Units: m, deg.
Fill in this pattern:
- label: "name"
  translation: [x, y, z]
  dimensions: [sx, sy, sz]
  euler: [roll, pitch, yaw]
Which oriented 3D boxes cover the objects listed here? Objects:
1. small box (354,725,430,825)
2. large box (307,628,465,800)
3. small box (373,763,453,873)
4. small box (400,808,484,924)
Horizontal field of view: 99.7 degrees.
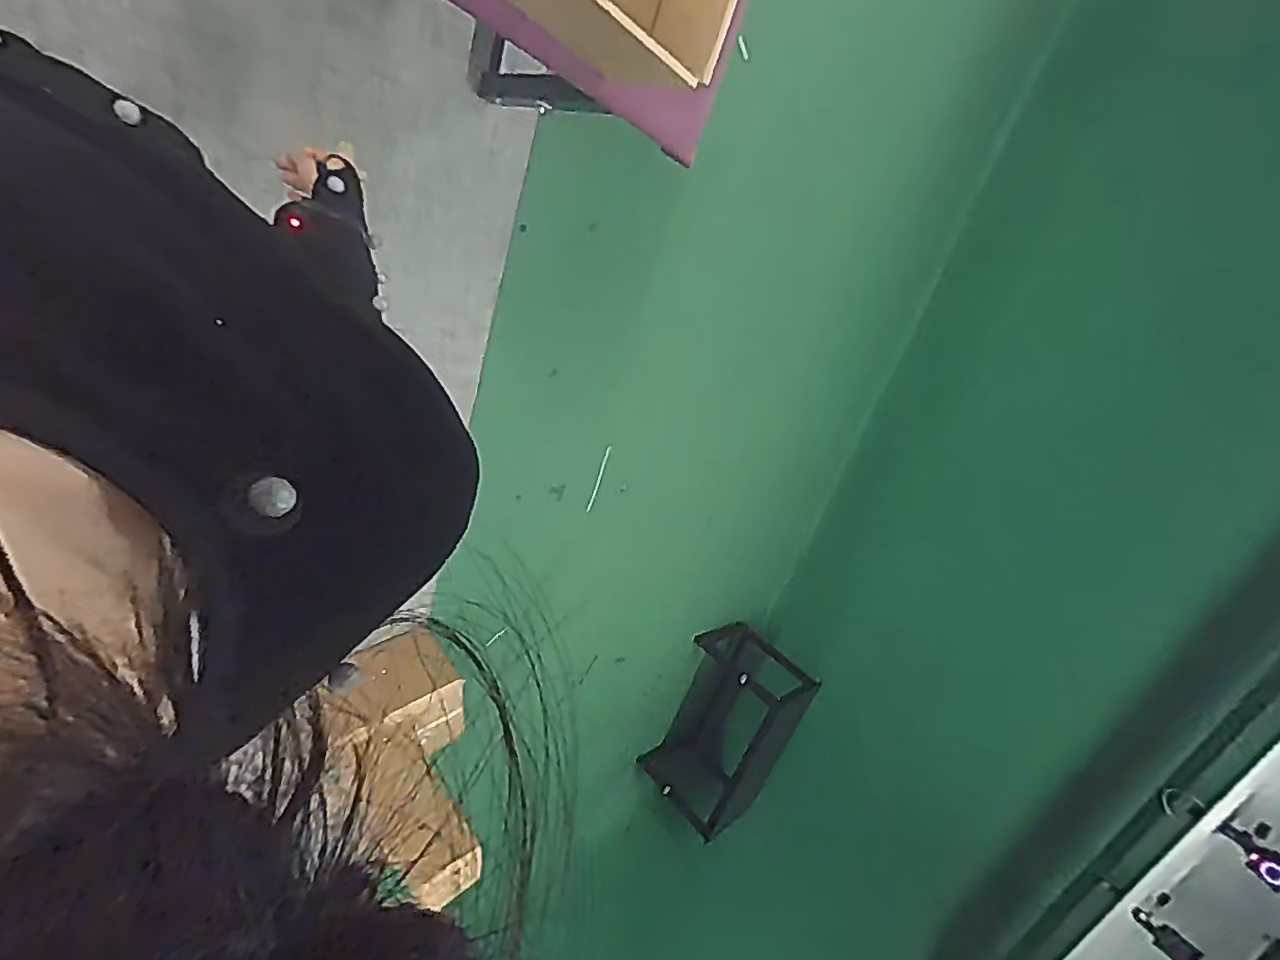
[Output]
- label: "small box"
  translation: [-0.777, 0.913, 1.687]
  dimensions: [0.179, 0.176, 0.168]
  euler: [-14, 127, -41]
- label: "large box"
  translation: [-0.879, 0.798, 1.897]
  dimensions: [0.408, 0.320, 0.320]
  euler: [-20, 131, -39]
- label: "small box"
  translation: [-0.668, 0.985, 1.588]
  dimensions: [0.179, 0.176, 0.168]
  euler: [-20, 130, -40]
- label: "small box"
  translation: [-0.550, 1.054, 1.498]
  dimensions: [0.168, 0.176, 0.179]
  euler: [-17, 129, -40]
